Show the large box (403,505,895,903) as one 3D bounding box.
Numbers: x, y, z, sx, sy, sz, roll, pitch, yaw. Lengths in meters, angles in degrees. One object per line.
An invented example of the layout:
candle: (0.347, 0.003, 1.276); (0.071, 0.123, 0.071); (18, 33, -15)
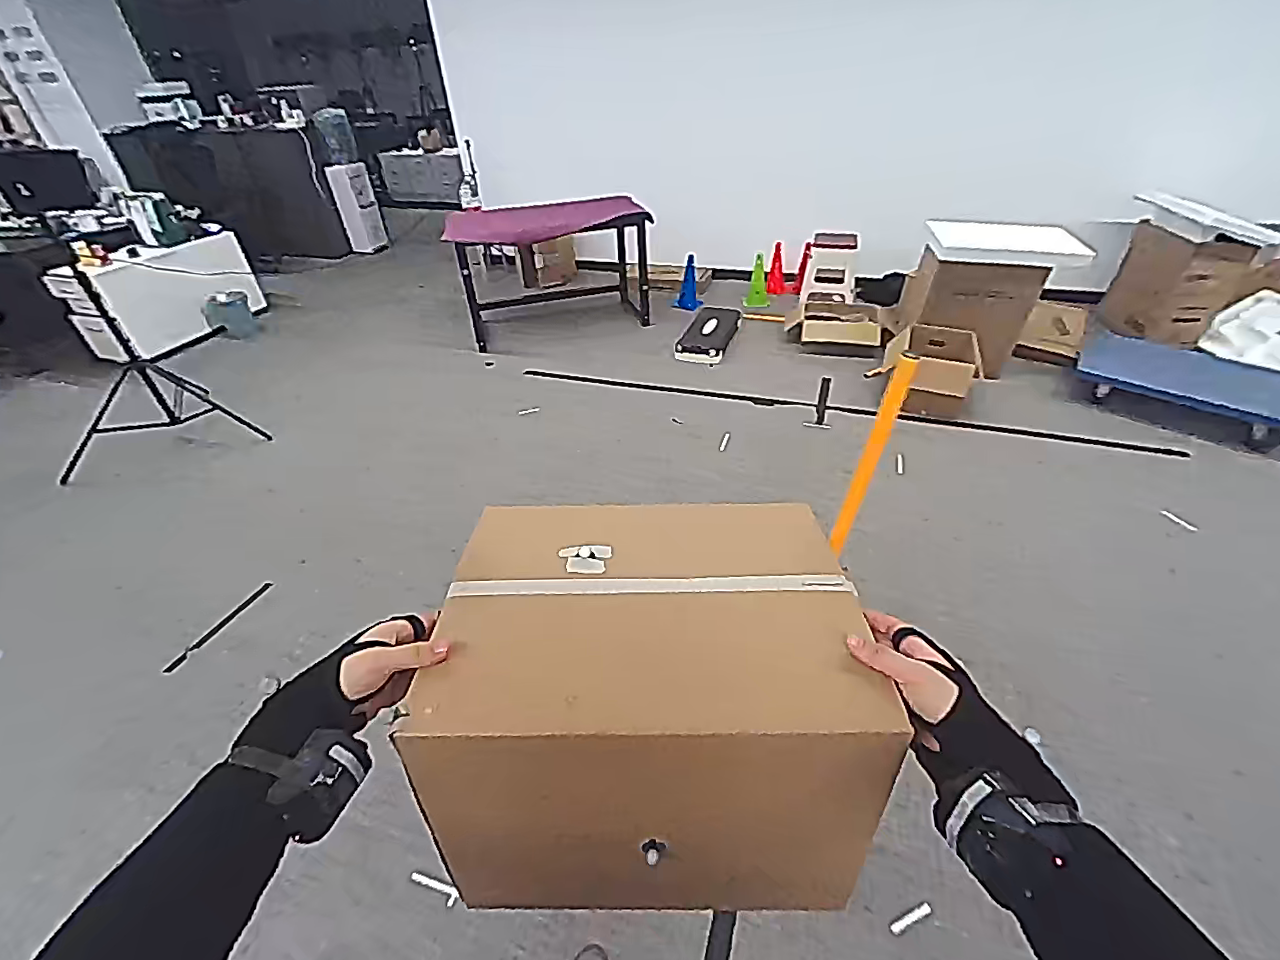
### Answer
large box: (0.013, 0.247, 0.634); (0.408, 0.320, 0.320); (-2, 30, 1)
